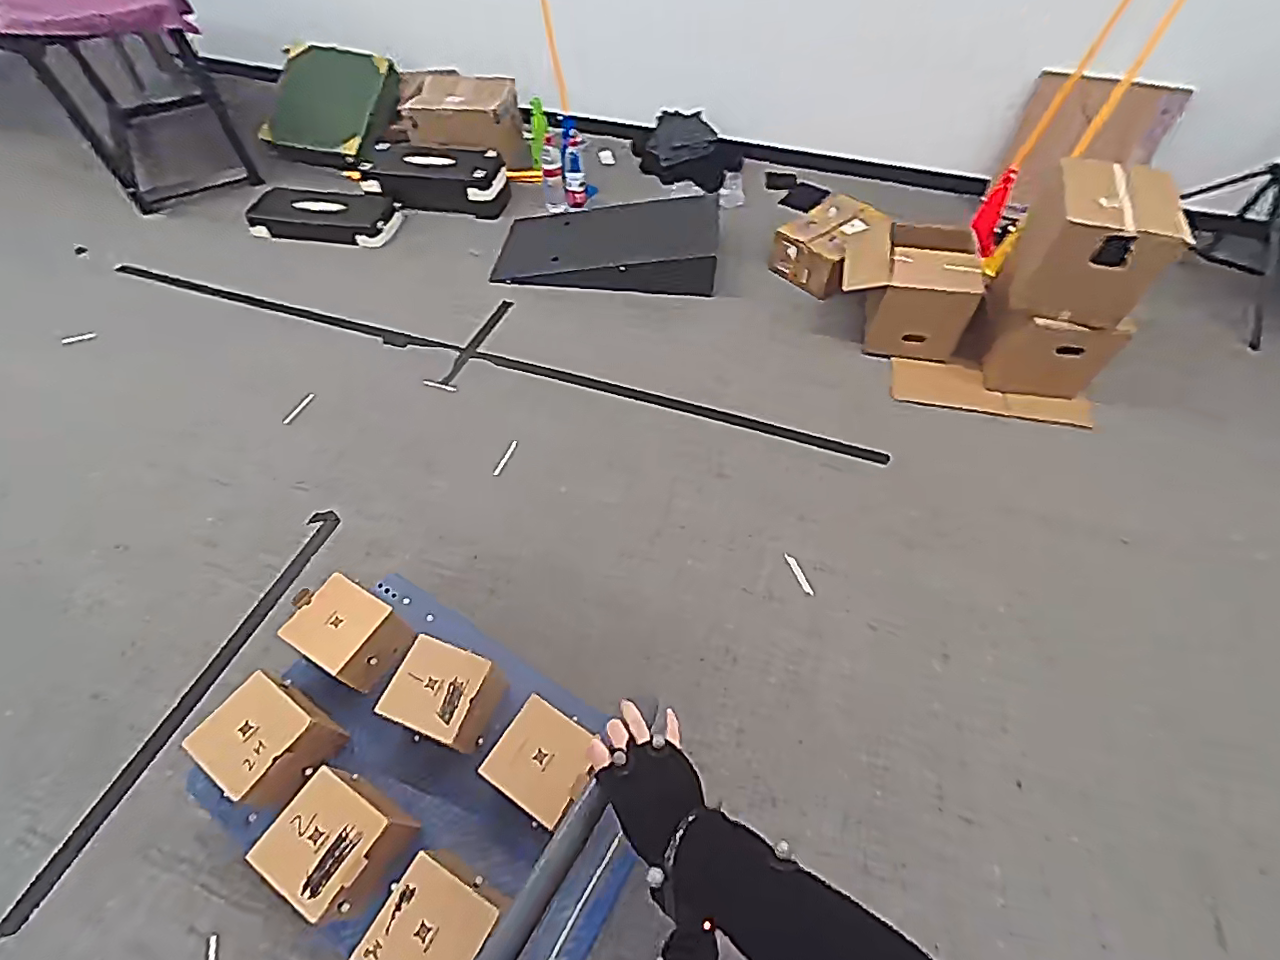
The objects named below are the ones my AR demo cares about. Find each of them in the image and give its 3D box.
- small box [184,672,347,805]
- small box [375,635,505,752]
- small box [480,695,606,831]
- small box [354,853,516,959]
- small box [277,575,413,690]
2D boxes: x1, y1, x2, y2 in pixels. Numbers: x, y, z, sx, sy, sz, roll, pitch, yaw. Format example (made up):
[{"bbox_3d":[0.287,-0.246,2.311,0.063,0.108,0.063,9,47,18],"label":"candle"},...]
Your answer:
[{"bbox_3d":[-0.738,0.524,1.084,0.179,0.176,0.168,30,60,17],"label":"small box"},{"bbox_3d":[-0.406,0.456,1.138,0.179,0.176,0.168,17,57,11],"label":"small box"},{"bbox_3d":[-0.180,0.561,1.071,0.179,0.176,0.168,27,58,18],"label":"small box"},{"bbox_3d":[-0.334,0.769,0.922,0.179,0.176,0.168,25,57,15],"label":"small box"},{"bbox_3d":[-0.646,0.348,1.210,0.179,0.176,0.168,25,59,15],"label":"small box"}]
